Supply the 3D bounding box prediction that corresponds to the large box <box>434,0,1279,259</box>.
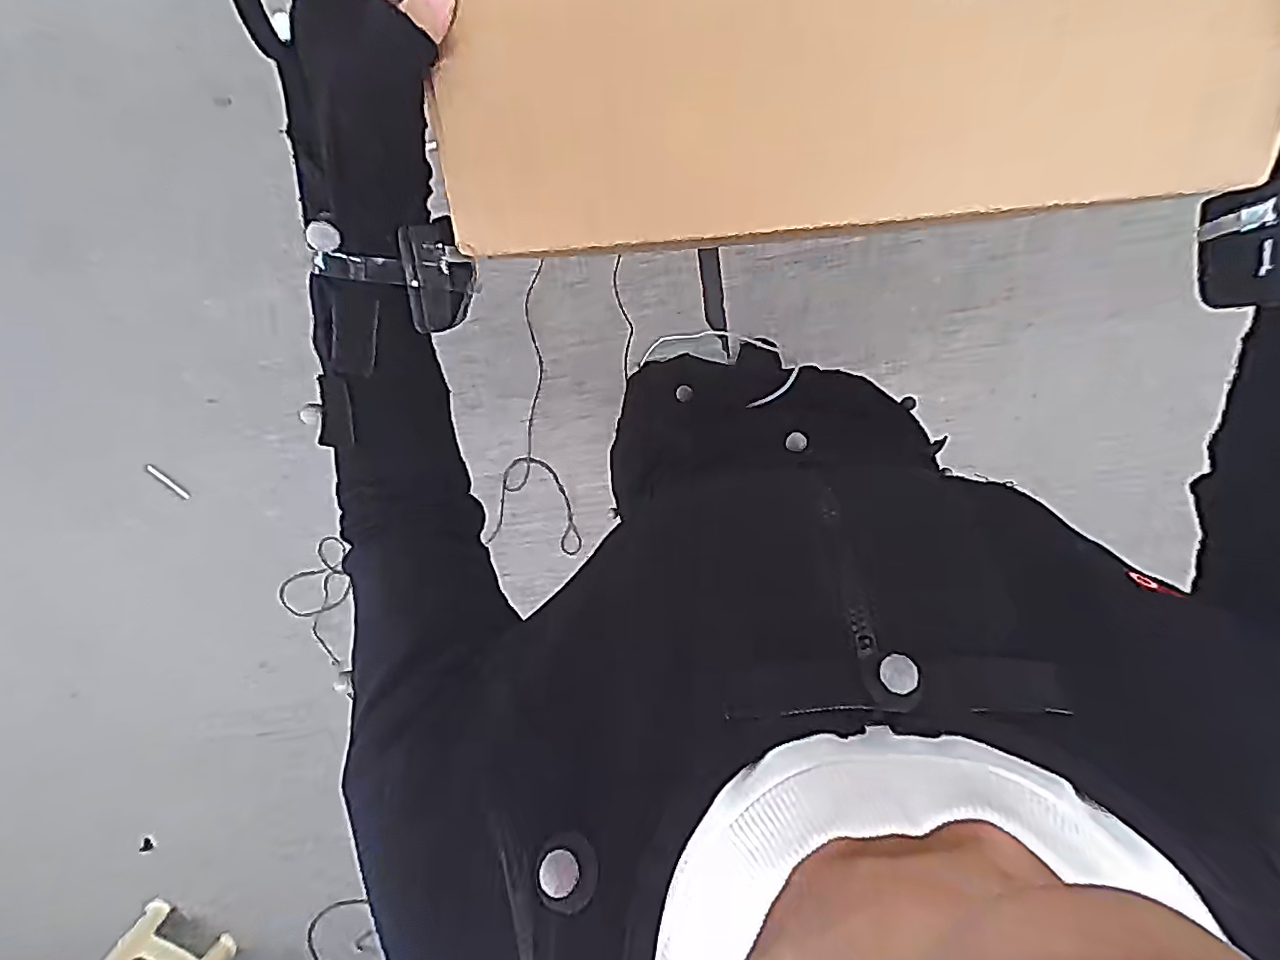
[{"bbox_3d":[0.096,-0.341,0.374,0.408,0.320,0.320,-4,112,4],"label":"large box"}]
